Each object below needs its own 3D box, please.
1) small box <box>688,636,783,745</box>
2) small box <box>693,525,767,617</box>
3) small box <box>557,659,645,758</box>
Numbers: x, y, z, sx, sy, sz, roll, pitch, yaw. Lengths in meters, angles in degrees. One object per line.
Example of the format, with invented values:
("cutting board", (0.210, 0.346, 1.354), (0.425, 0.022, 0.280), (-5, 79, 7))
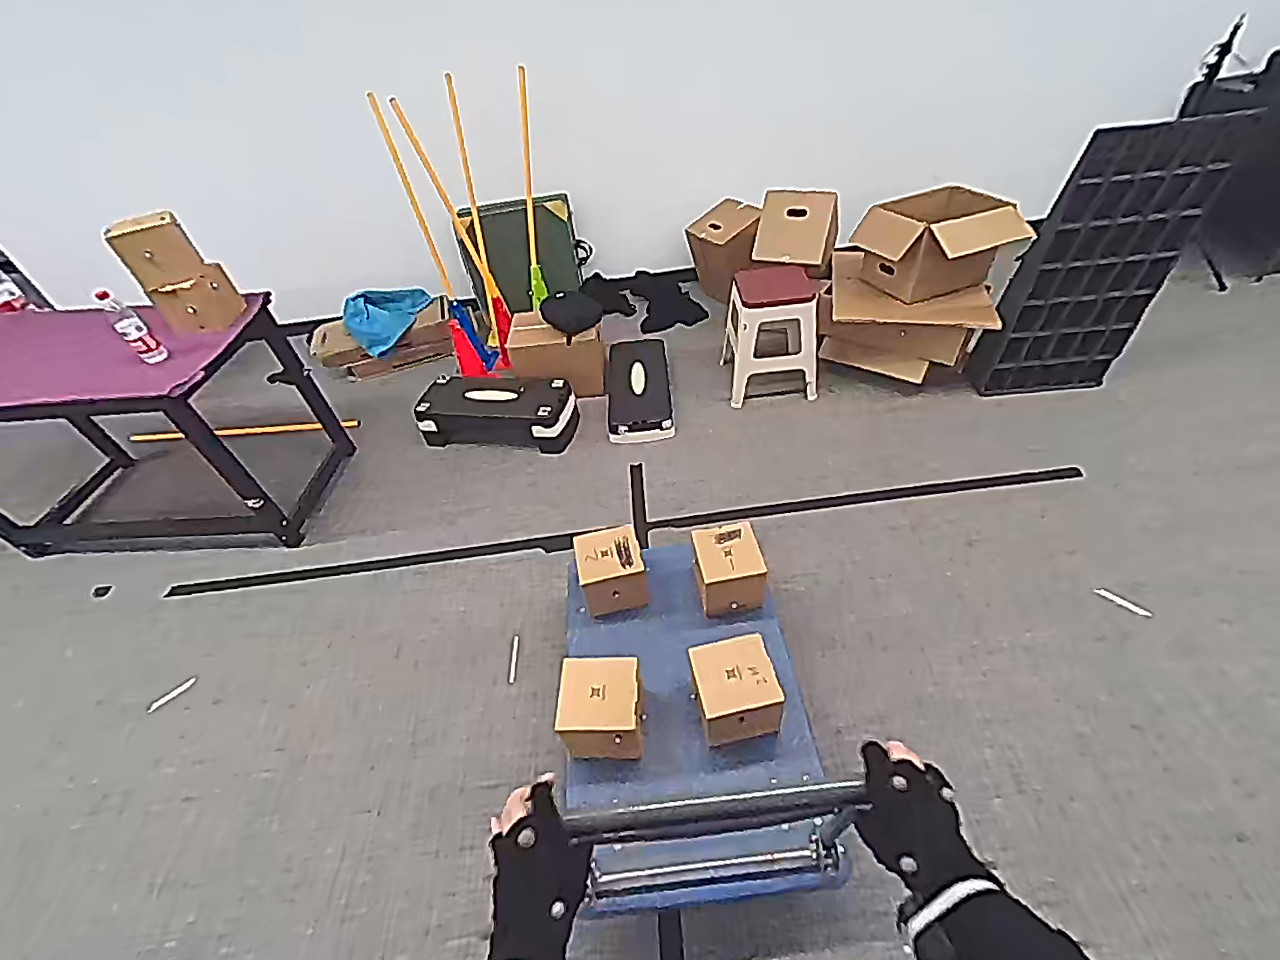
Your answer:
("small box", (0.219, 0.492, 1.256), (0.179, 0.176, 0.168), (-12, 45, -3))
("small box", (0.241, 0.252, 1.493), (0.168, 0.176, 0.179), (-10, 46, -2))
("small box", (-0.083, 0.535, 1.258), (0.179, 0.176, 0.168), (-2, 45, 4))
